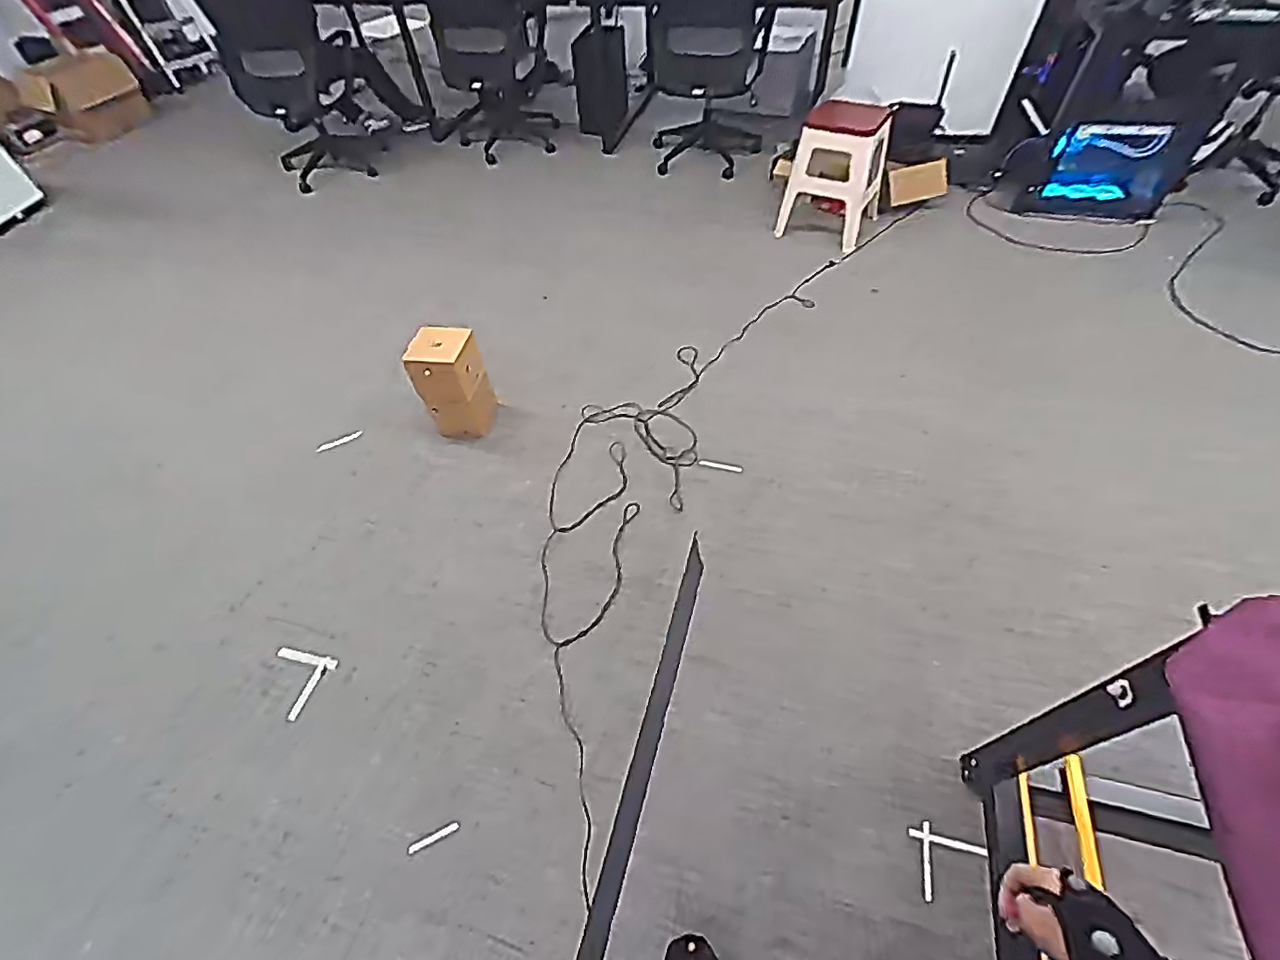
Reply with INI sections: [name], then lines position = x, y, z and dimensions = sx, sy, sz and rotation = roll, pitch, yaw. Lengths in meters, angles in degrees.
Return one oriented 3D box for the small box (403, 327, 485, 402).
[small box]
position = -0.618, -0.368, 1.735
dimensions = 0.179, 0.176, 0.168
rotation = 4, 52, 8
